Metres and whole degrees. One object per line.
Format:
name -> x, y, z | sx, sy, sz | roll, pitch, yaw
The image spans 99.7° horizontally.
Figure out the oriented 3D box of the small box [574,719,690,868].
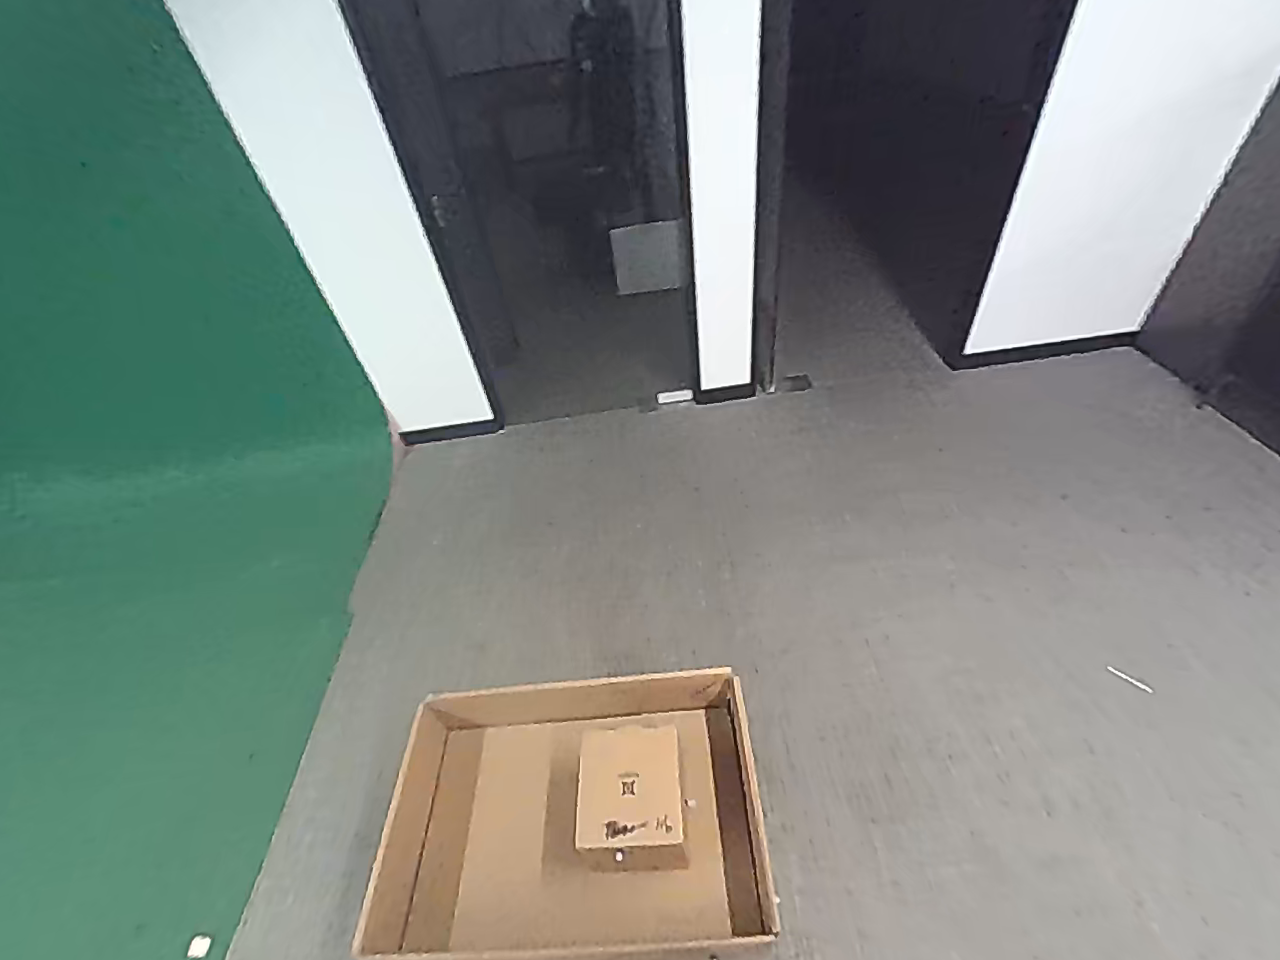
small box -> -0.007, 0.530, 0.914 | 0.168, 0.176, 0.179 | -6, 42, 6
